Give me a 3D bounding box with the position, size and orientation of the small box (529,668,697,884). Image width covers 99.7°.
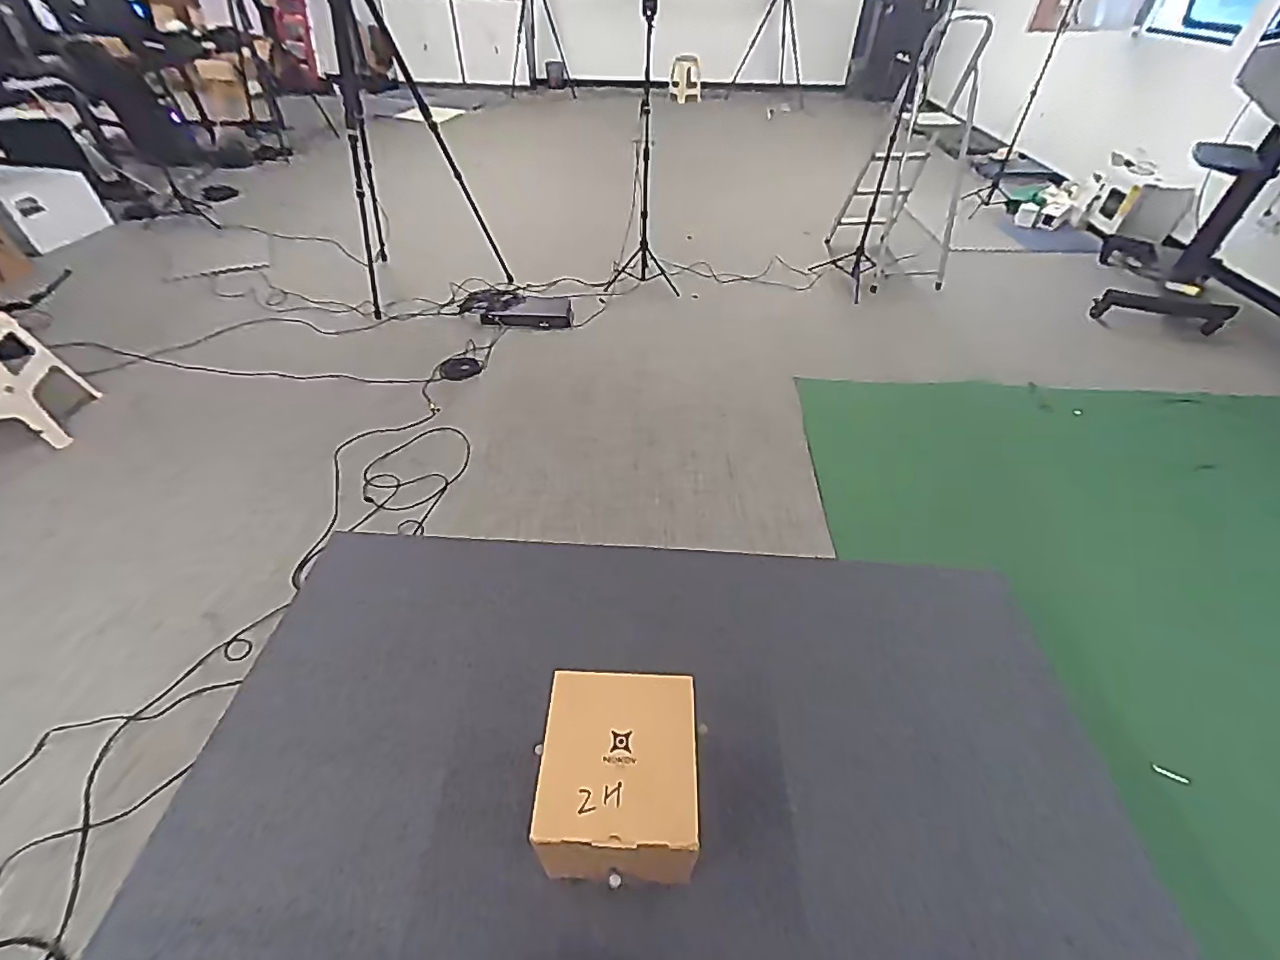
[{"bbox_3d":[-0.025,0.343,0.631,0.168,0.176,0.179,2,44,1],"label":"small box"}]
